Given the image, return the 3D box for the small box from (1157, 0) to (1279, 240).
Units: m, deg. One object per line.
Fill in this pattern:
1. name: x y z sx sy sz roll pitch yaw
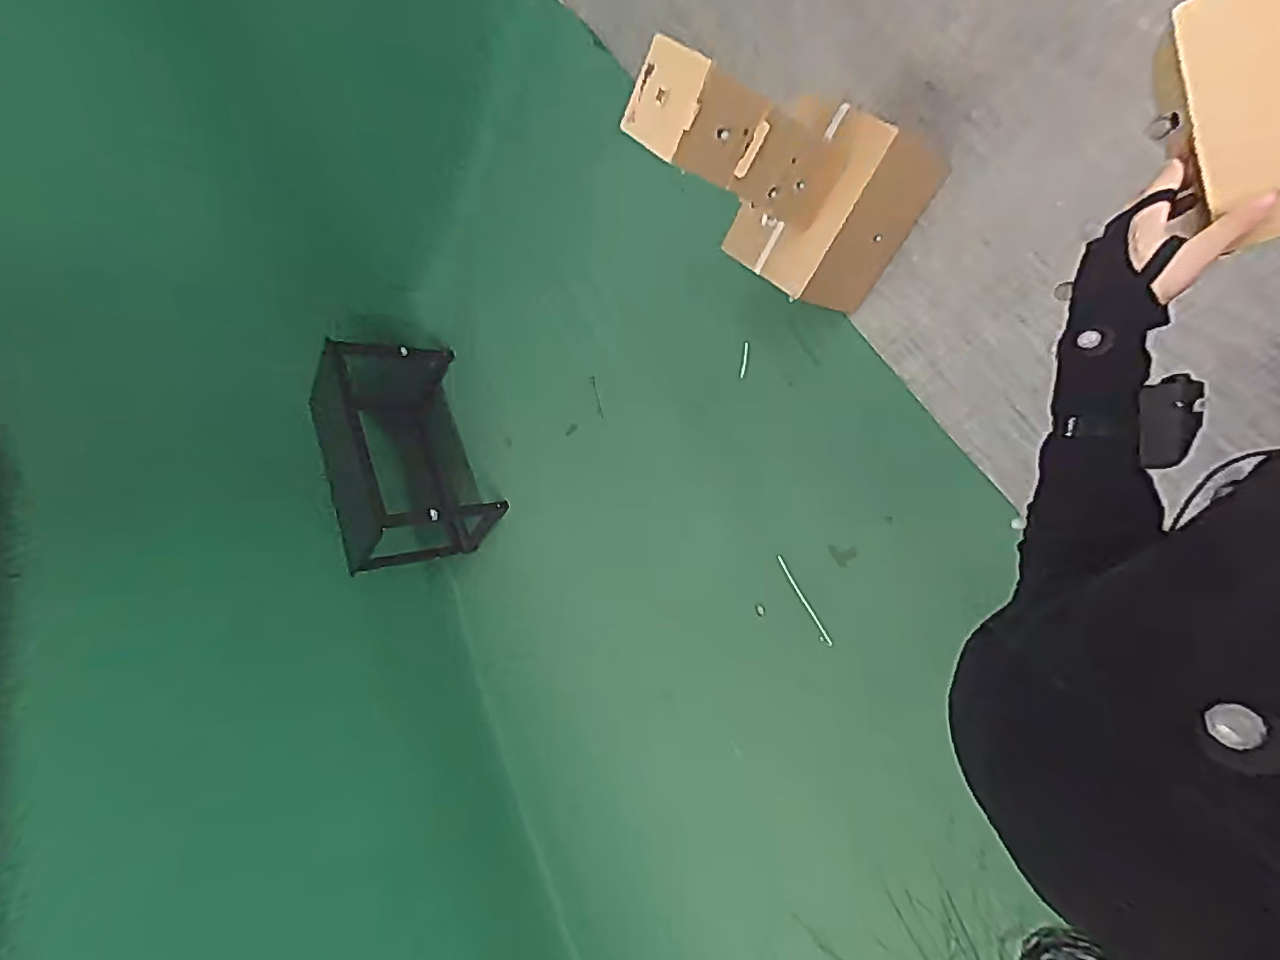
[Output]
1. small box: 0.483 -0.278 0.364 0.179 0.176 0.168 -14 98 41

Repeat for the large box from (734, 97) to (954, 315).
1. large box: 0.529 -0.708 1.439 0.320 0.320 0.408 51 129 33

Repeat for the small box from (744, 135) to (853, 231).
1. small box: 0.358 -0.713 1.262 0.168 0.176 0.179 52 129 29

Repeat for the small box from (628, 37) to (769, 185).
1. small box: 0.114 -0.698 1.043 0.179 0.176 0.168 52 128 29

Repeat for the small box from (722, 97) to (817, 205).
1. small box: 0.239 -0.711 1.149 0.179 0.176 0.168 54 130 29
